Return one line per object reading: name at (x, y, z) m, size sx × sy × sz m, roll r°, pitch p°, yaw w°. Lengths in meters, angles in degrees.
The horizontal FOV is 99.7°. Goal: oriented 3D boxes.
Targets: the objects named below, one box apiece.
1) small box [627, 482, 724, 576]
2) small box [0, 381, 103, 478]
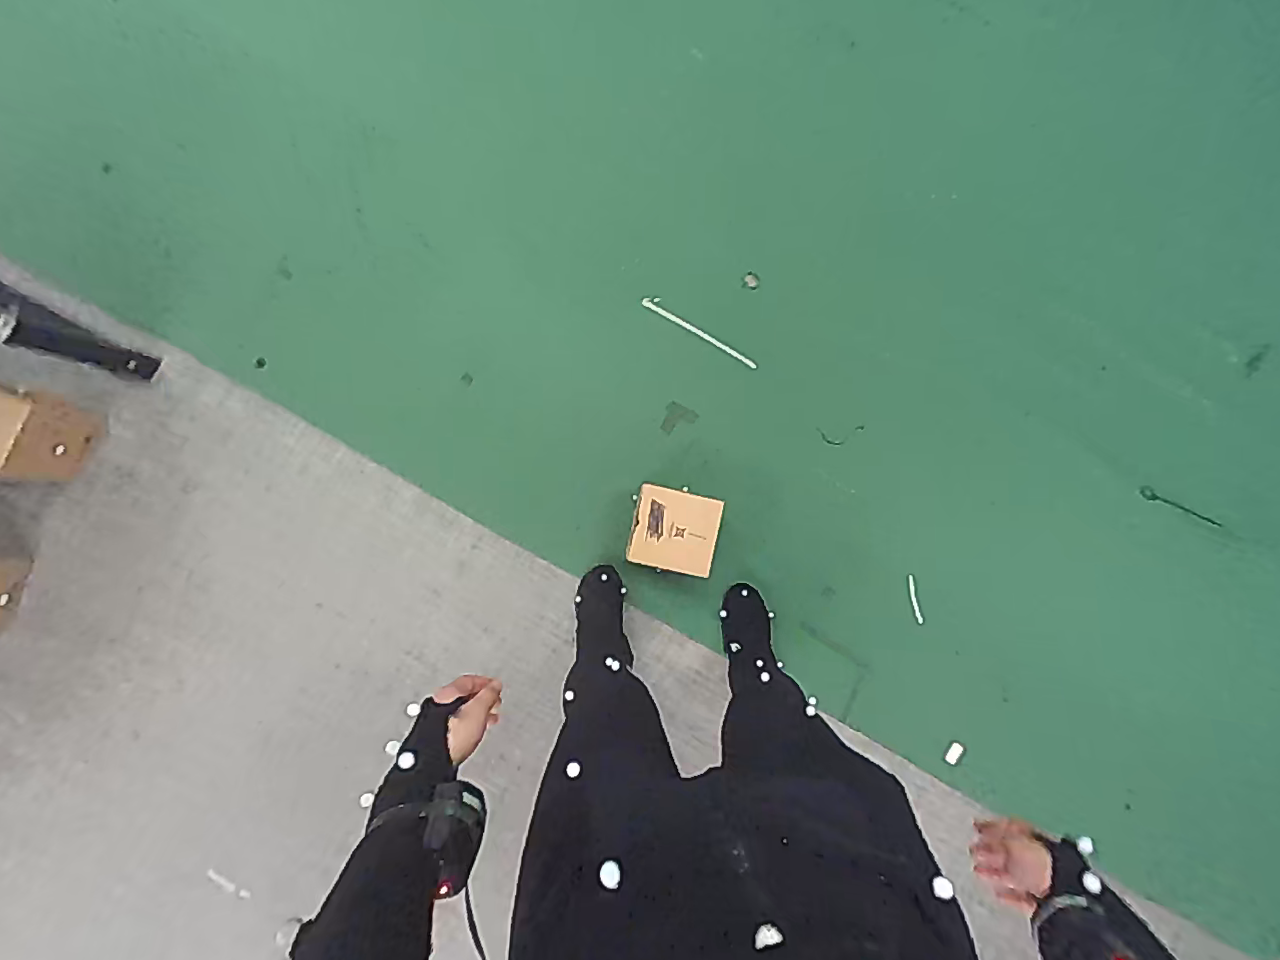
small box at (0.072, 0.105, 1.204) m, size 0.179 × 0.176 × 0.168 m, roll 13°, pitch 88°, yaw -2°
small box at (-1.344, -0.112, 1.171) m, size 0.179 × 0.176 × 0.168 m, roll 24°, pitch 87°, yaw -1°
